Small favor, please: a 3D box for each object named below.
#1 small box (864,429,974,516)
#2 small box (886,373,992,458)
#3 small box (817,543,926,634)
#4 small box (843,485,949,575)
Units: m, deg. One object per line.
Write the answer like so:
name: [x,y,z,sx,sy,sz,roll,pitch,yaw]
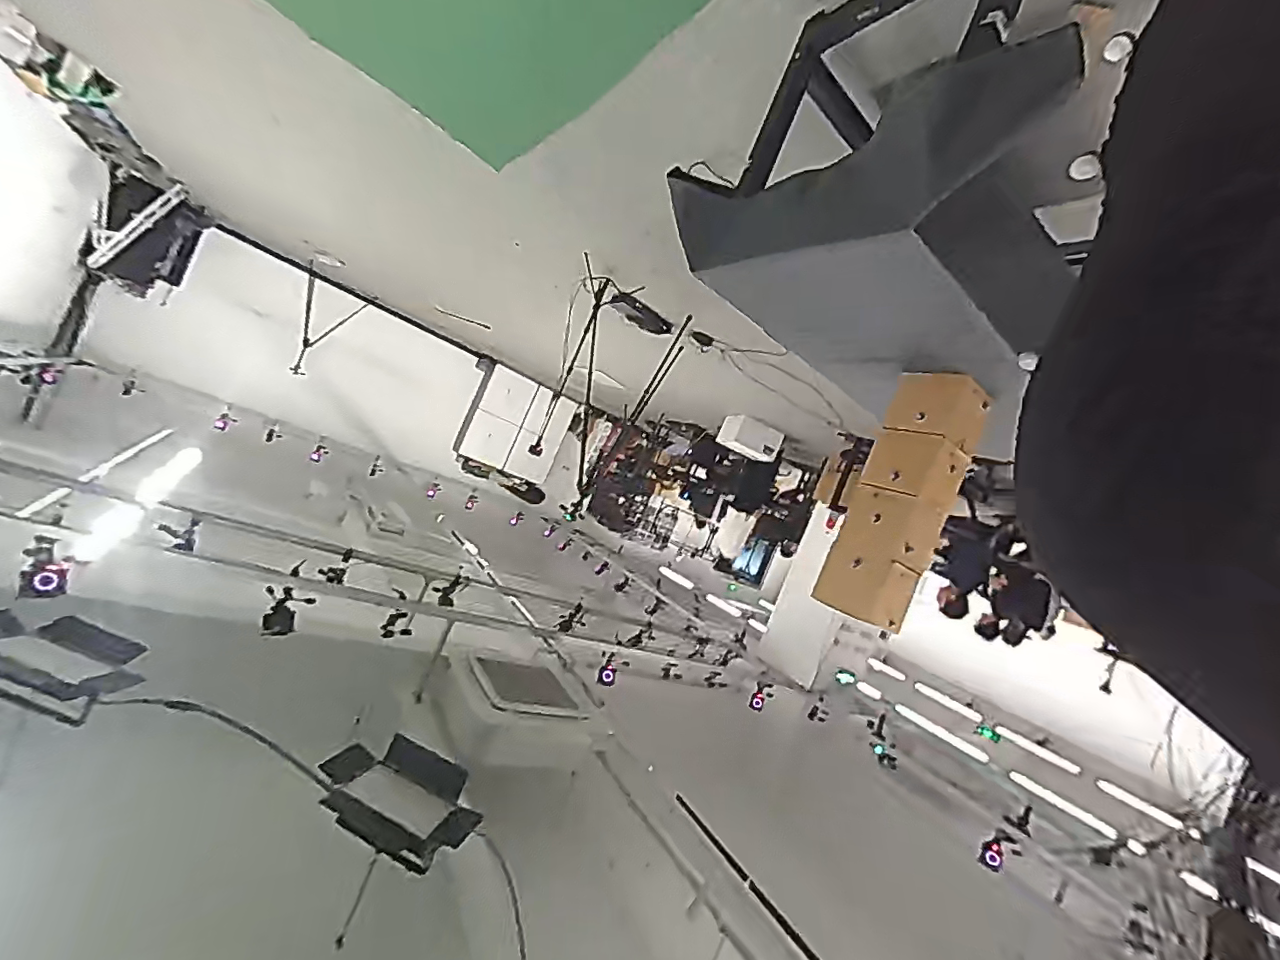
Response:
small box: [0.735,-0.025,1.426,0.168,0.176,0.179,24,177,-34]
small box: [0.799,-0.174,1.432,0.168,0.176,0.179,24,179,-33]
small box: [0.604,0.275,1.409,0.168,0.176,0.179,25,178,-36]
small box: [0.672,0.126,1.417,0.179,0.176,0.168,24,178,-35]
